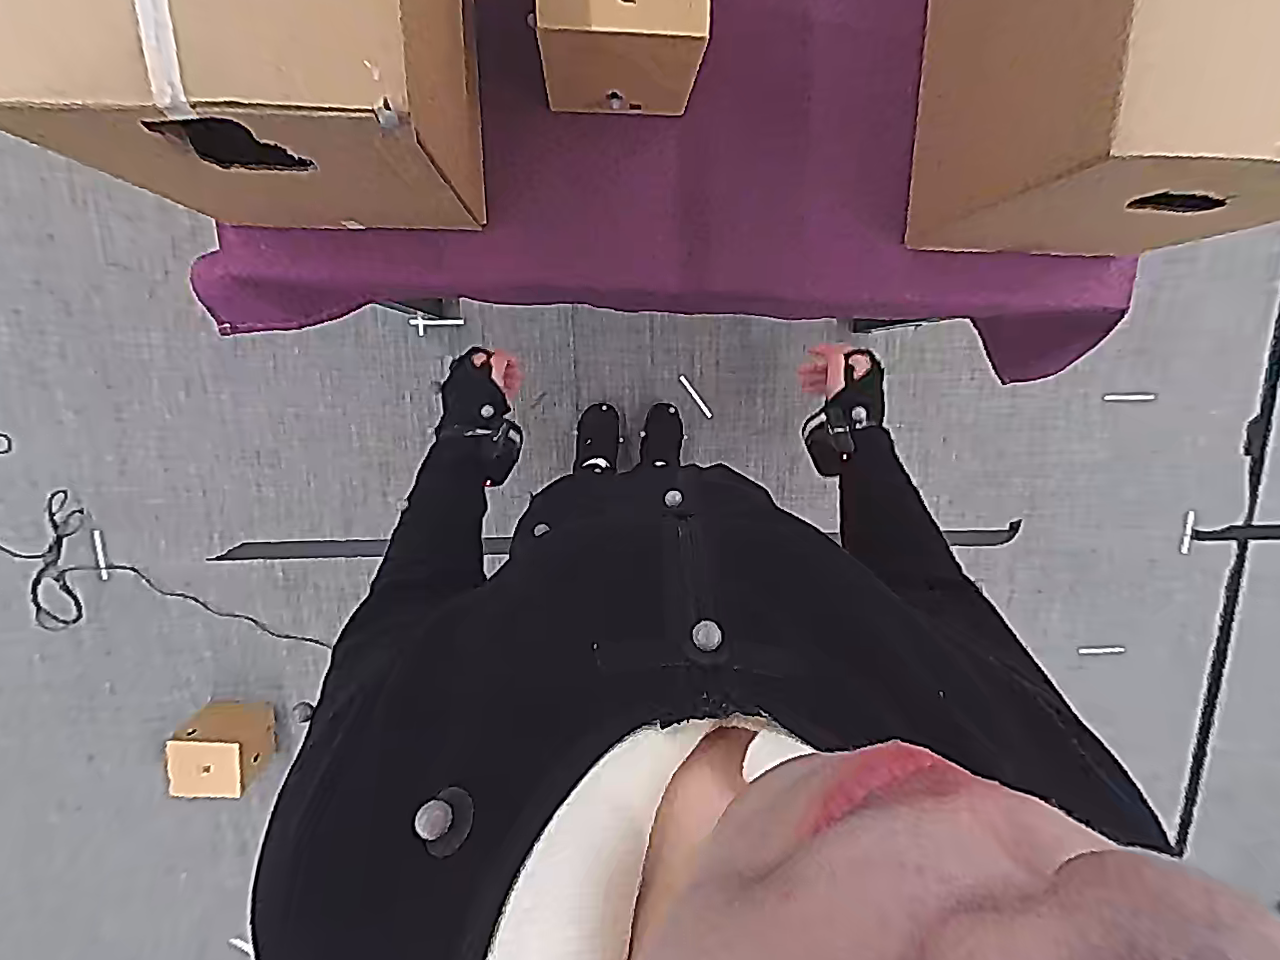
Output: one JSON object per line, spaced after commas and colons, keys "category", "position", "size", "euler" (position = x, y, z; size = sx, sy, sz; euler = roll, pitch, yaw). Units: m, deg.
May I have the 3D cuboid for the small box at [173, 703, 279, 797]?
{"category": "small box", "position": [-1.118, 0.732, 1.478], "size": [0.179, 0.176, 0.168], "euler": [5, 101, -5]}
